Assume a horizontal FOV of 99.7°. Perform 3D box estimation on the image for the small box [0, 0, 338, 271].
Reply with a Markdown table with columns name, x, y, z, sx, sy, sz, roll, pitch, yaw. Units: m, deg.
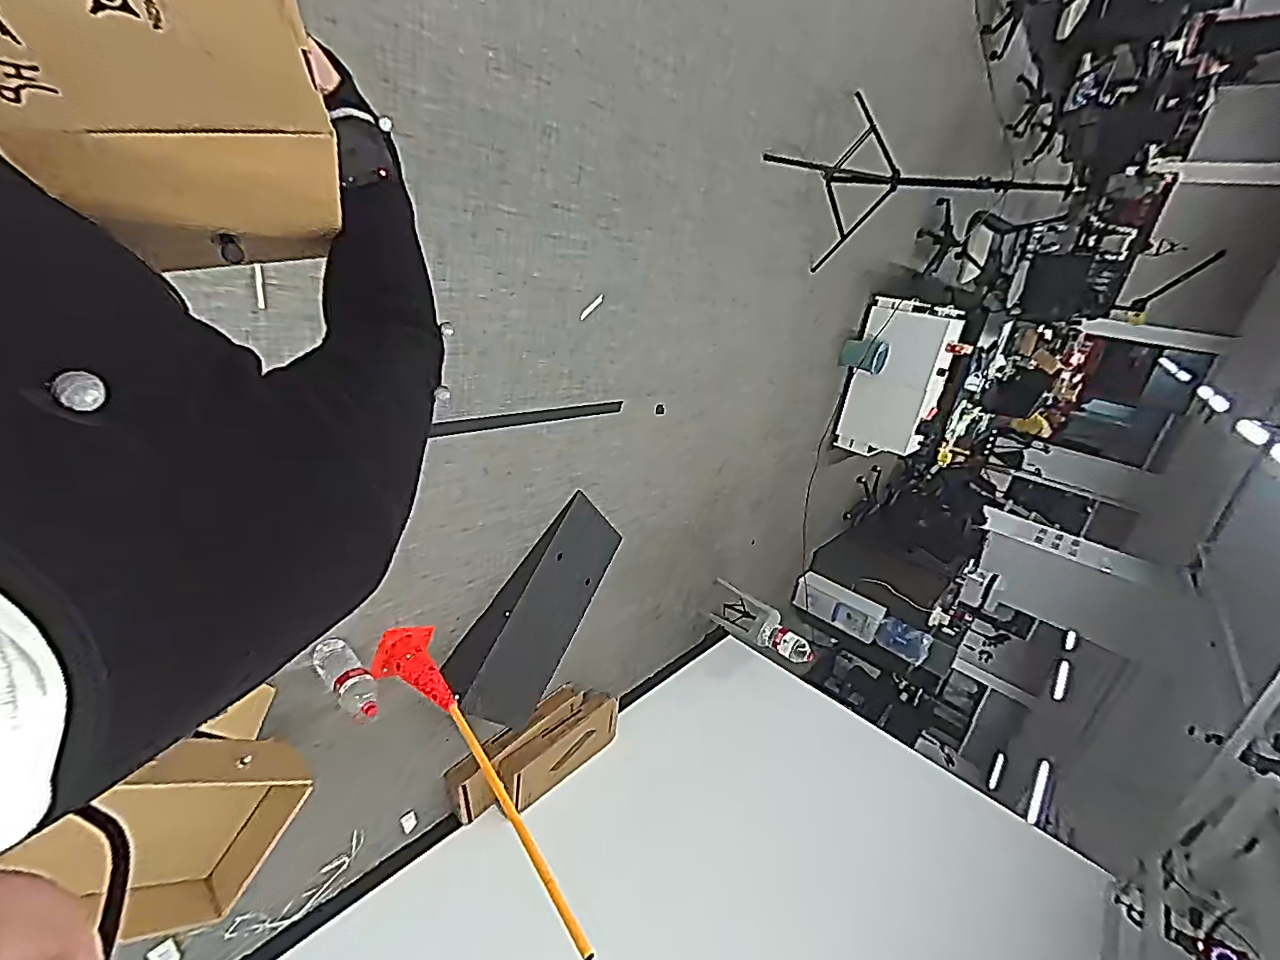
| name | x | y | z | sx | sy | sz | roll | pitch | yaw |
| --- | --- | --- | --- | --- | --- | --- | --- | --- | --- |
| small box | -0.349 | -0.280 | 0.411 | 0.179 | 0.176 | 0.168 | -19 | 90 | -29 |
